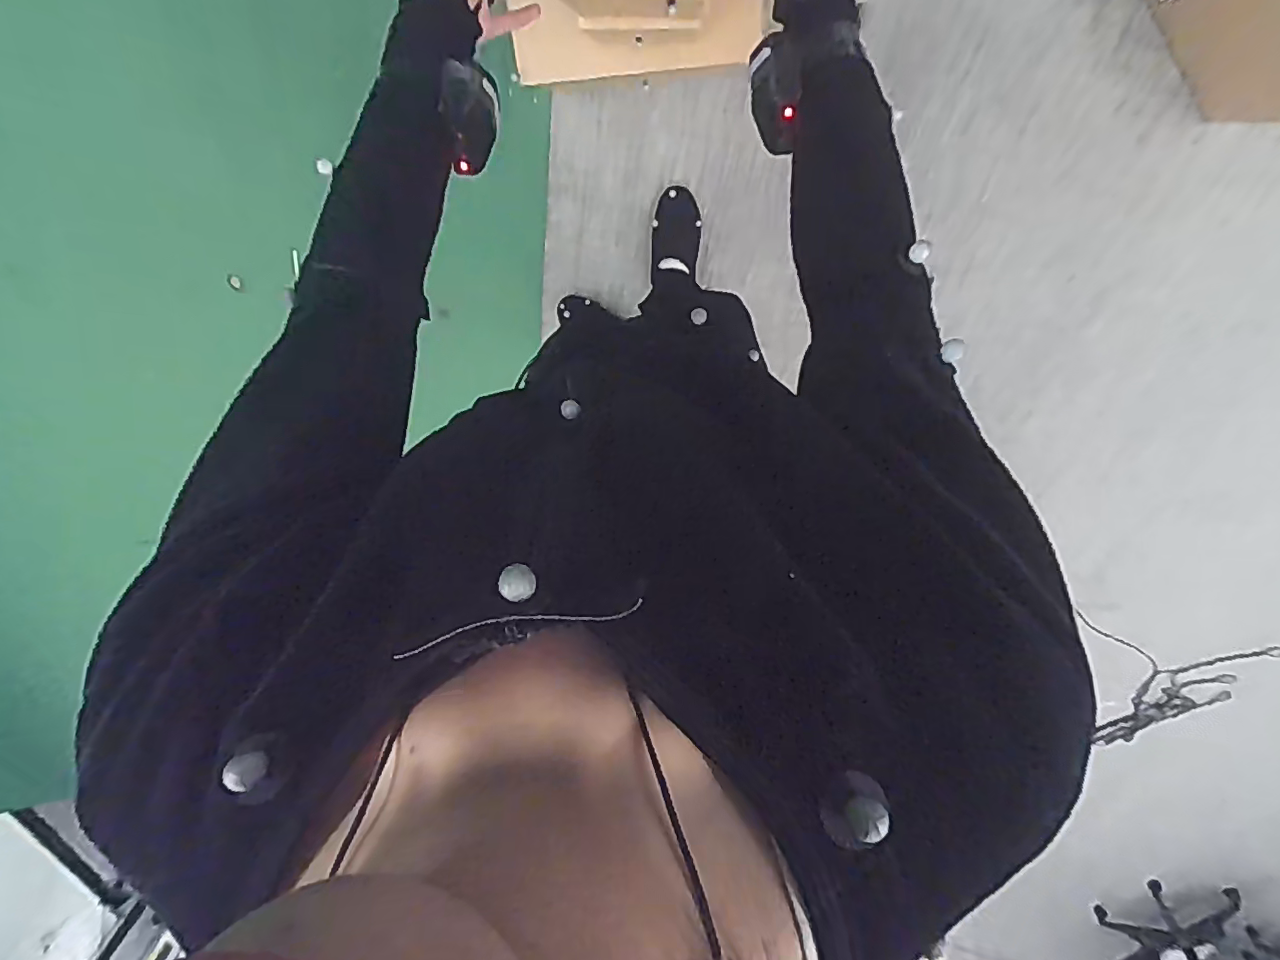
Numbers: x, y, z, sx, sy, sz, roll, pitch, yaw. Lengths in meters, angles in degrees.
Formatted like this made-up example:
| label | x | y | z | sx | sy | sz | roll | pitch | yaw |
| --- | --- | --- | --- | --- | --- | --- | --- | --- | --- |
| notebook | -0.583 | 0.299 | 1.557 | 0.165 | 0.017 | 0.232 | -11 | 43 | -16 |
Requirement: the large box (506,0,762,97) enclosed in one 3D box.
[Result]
| label | x | y | z | sx | sy | sz | roll | pitch | yaw |
| --- | --- | --- | --- | --- | --- | --- | --- | --- | --- |
| large box | -0.003 | -0.874 | 0.931 | 0.408 | 0.320 | 0.320 | -1 | 121 | 7 |

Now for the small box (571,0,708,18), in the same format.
| label | x | y | z | sx | sy | sz | roll | pitch | yaw |
| --- | --- | --- | --- | --- | --- | --- | --- | --- | --- |
| small box | -0.003 | -0.635 | 0.600 | 0.179 | 0.176 | 0.168 | 4 | 123 | 2 |

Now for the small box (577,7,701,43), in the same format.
| label | x | y | z | sx | sy | sz | roll | pitch | yaw |
| --- | --- | --- | --- | --- | --- | --- | --- | --- | --- |
| small box | 0.005 | -0.717 | 0.739 | 0.168 | 0.176 | 0.179 | 3 | 123 | 3 |
